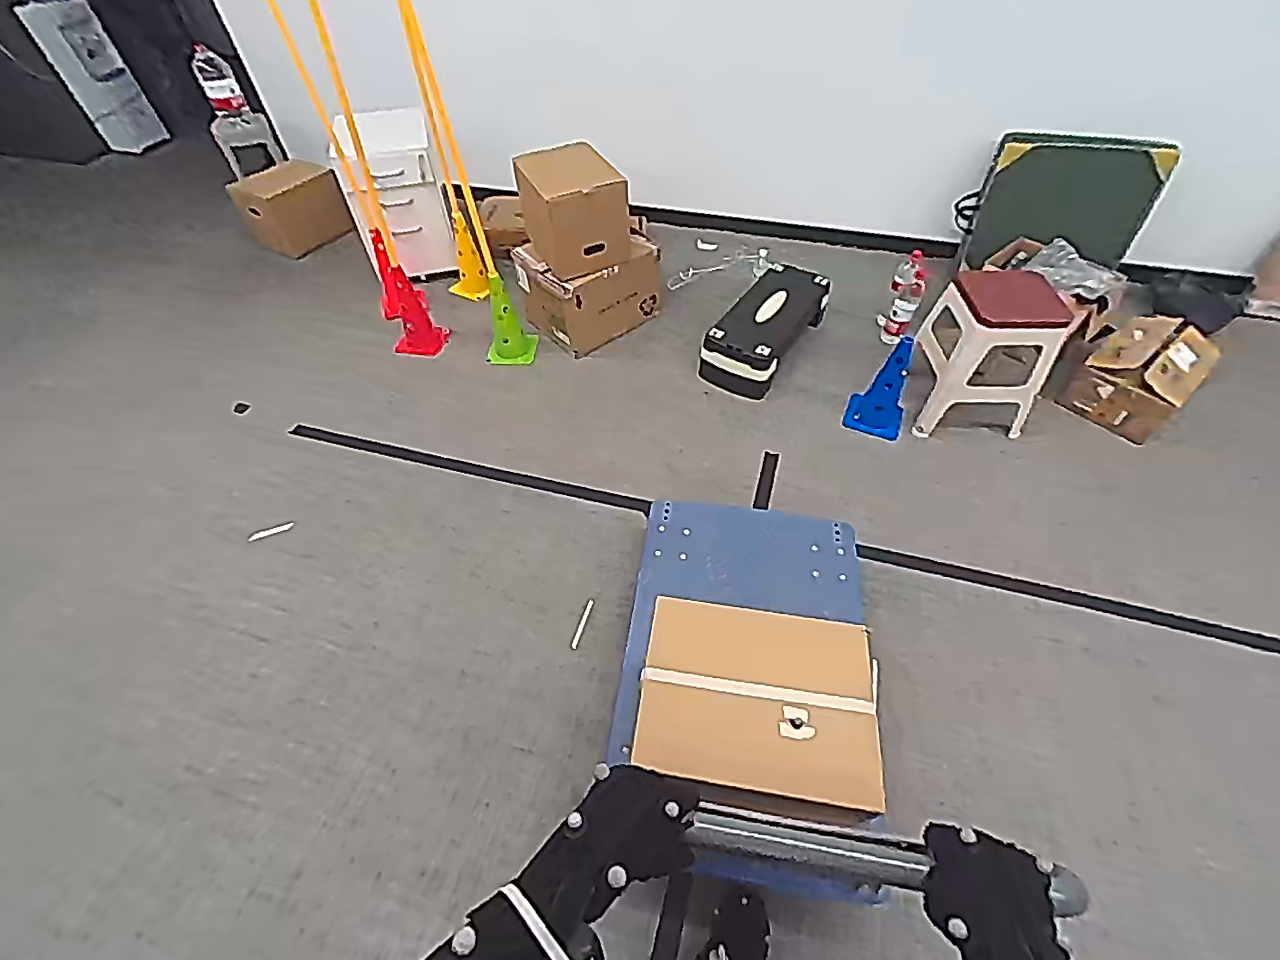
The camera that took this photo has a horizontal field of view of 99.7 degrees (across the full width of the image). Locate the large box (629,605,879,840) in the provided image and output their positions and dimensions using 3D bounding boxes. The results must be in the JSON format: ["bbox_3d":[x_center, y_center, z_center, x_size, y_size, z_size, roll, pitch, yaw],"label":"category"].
[{"bbox_3d":[0.196,0.476,1.060,0.408,0.320,0.320,8,52,6],"label":"large box"}]
